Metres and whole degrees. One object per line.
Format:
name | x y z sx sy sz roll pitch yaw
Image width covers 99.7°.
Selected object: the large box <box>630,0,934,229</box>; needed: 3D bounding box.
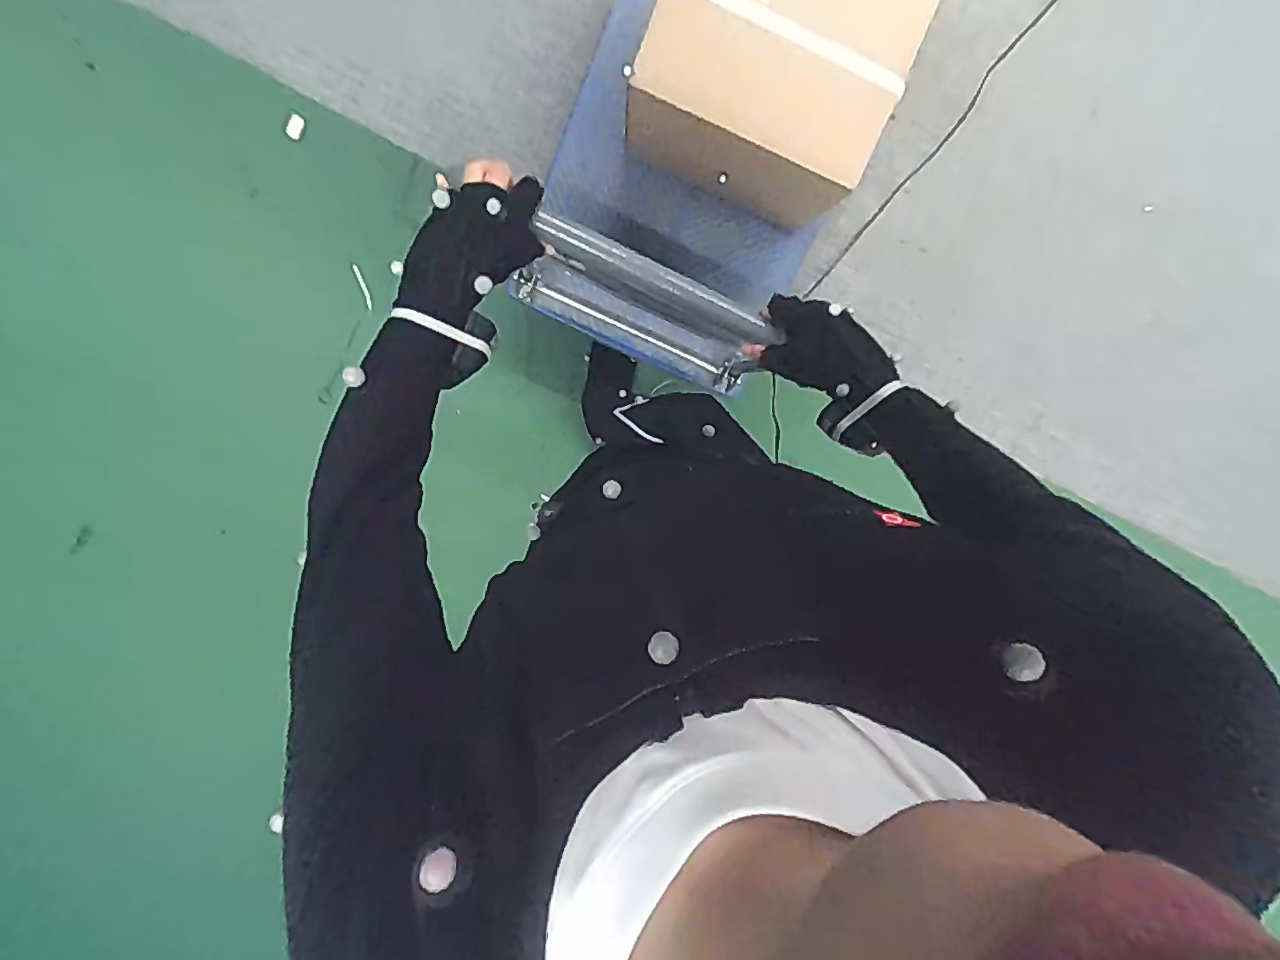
large box | 0.221 -0.713 0.989 0.408 0.320 0.320 21 100 -5
